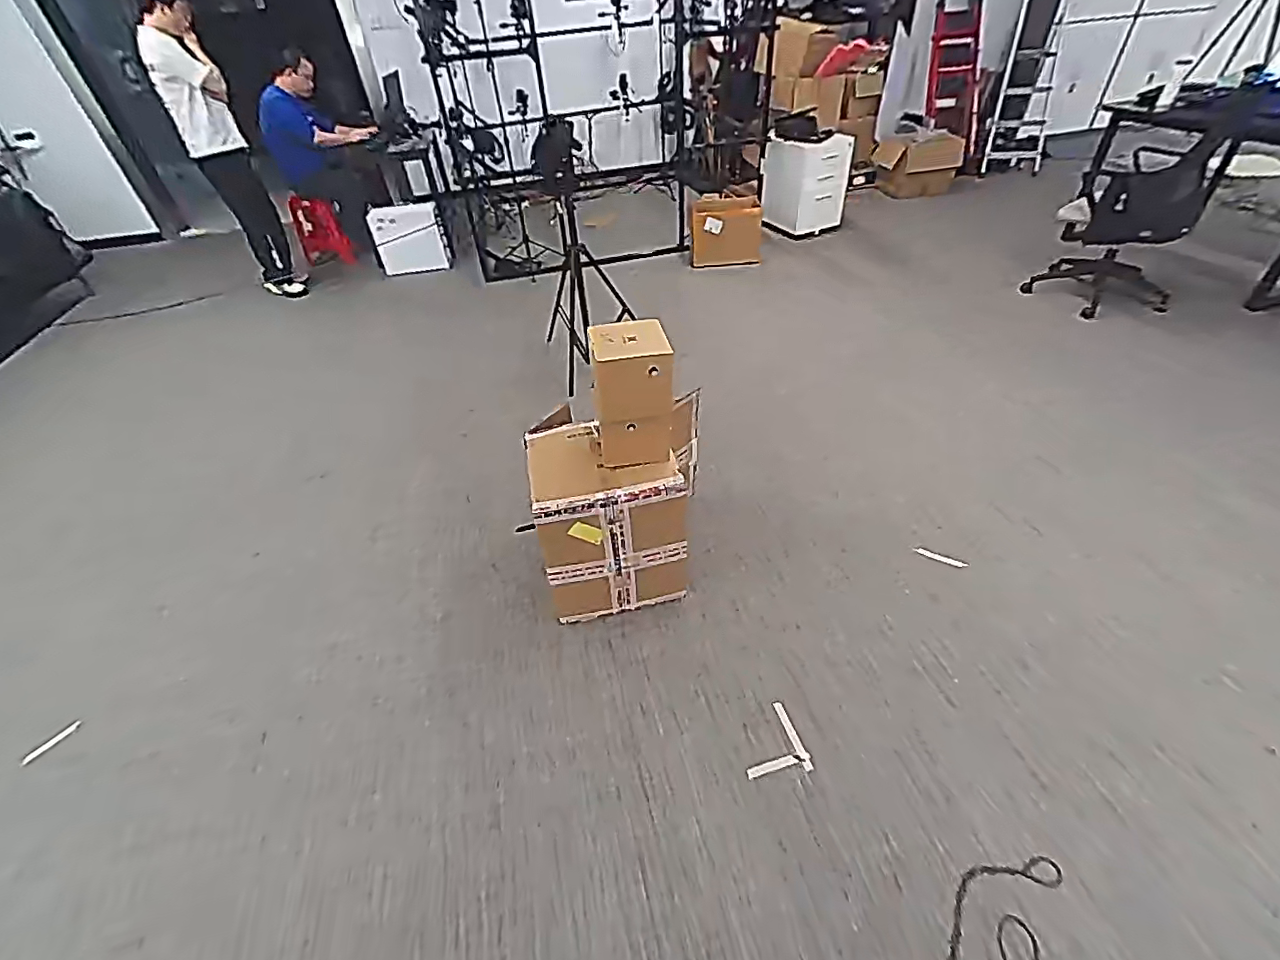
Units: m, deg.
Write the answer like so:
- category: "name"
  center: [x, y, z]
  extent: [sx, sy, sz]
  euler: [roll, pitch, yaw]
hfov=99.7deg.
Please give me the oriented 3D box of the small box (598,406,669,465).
- category: "small box"
  center: [-0.021, -0.154, 1.415]
  extent: [0.179, 0.176, 0.168]
  euler: [-7, 43, -5]

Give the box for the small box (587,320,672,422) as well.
- category: "small box"
  center: [-0.026, -0.257, 1.285]
  extent: [0.179, 0.176, 0.168]
  euler: [-9, 43, -7]
